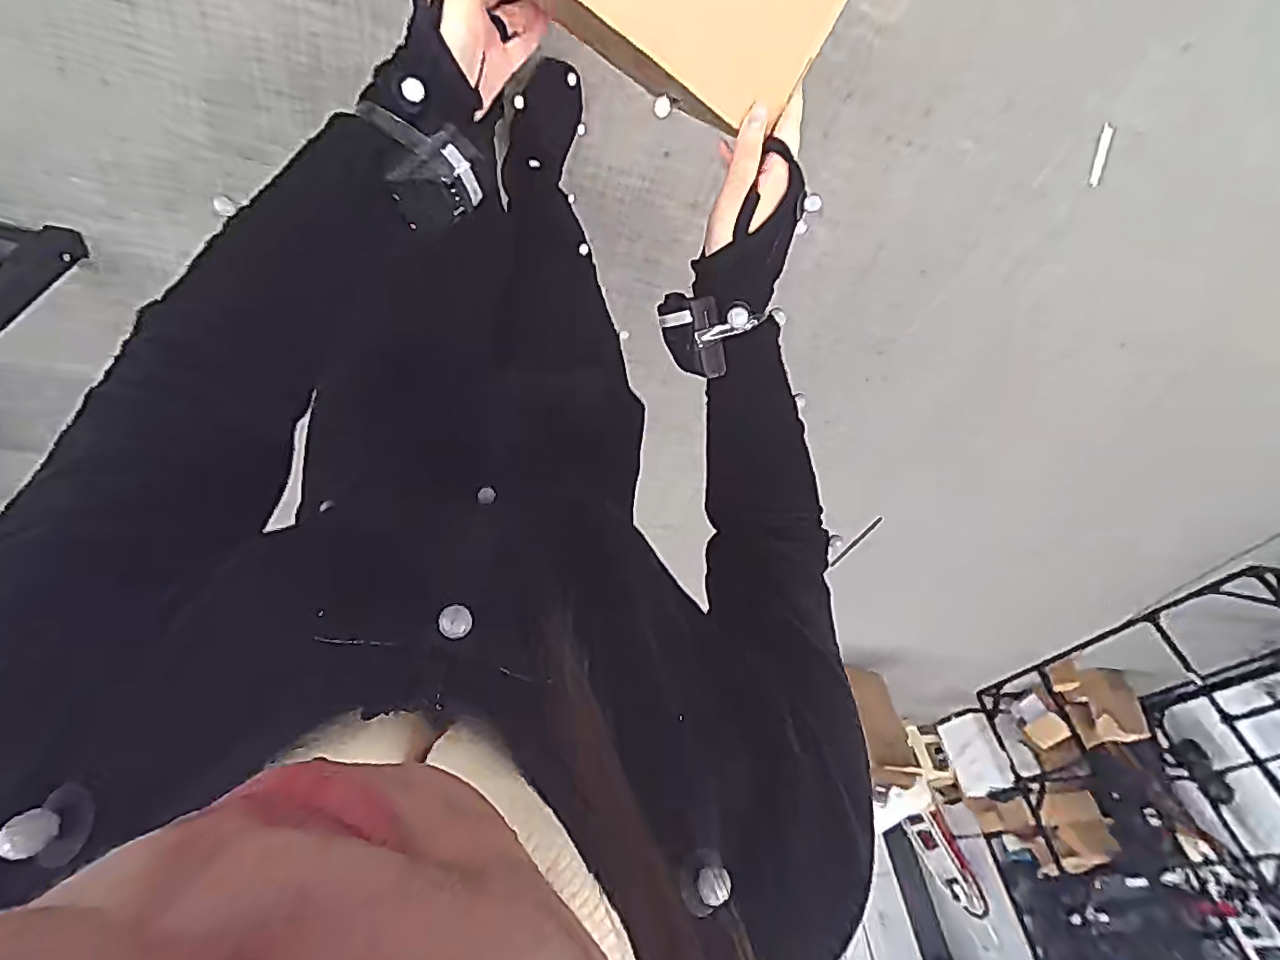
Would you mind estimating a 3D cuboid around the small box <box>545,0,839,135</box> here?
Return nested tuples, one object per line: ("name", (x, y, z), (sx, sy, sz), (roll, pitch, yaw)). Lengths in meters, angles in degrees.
("small box", (0.025, -0.363, 0.337), (0.179, 0.176, 0.168), (9, 125, -41))
